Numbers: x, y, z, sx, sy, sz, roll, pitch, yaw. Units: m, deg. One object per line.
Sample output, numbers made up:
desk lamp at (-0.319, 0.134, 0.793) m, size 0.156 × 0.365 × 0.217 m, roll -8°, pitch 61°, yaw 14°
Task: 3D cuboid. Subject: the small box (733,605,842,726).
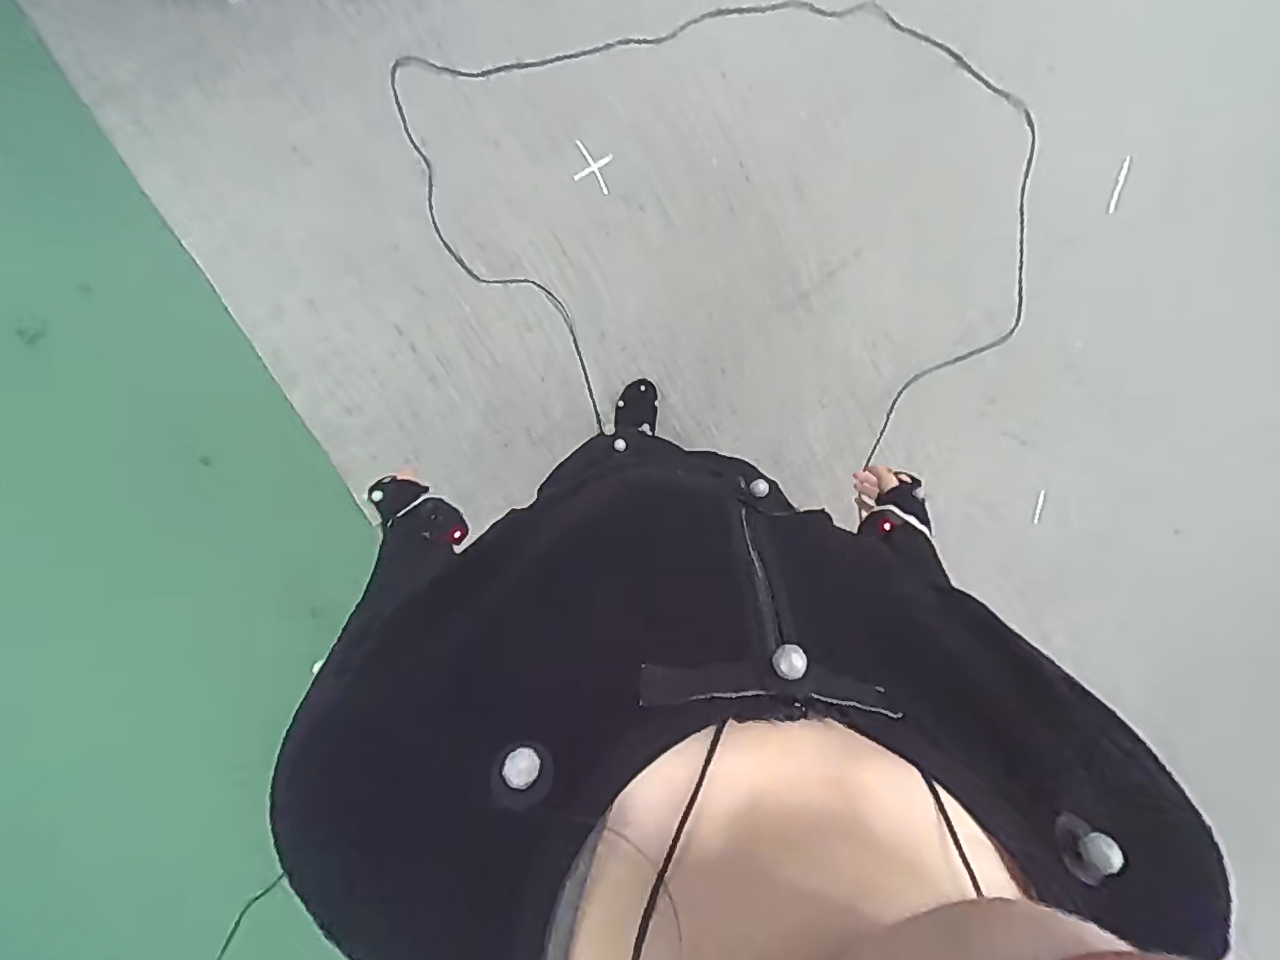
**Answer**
small box at (0.340, 0.434, 1.291) m, size 0.168 × 0.176 × 0.179 m, roll 38°, pitch 96°, yaw -6°
